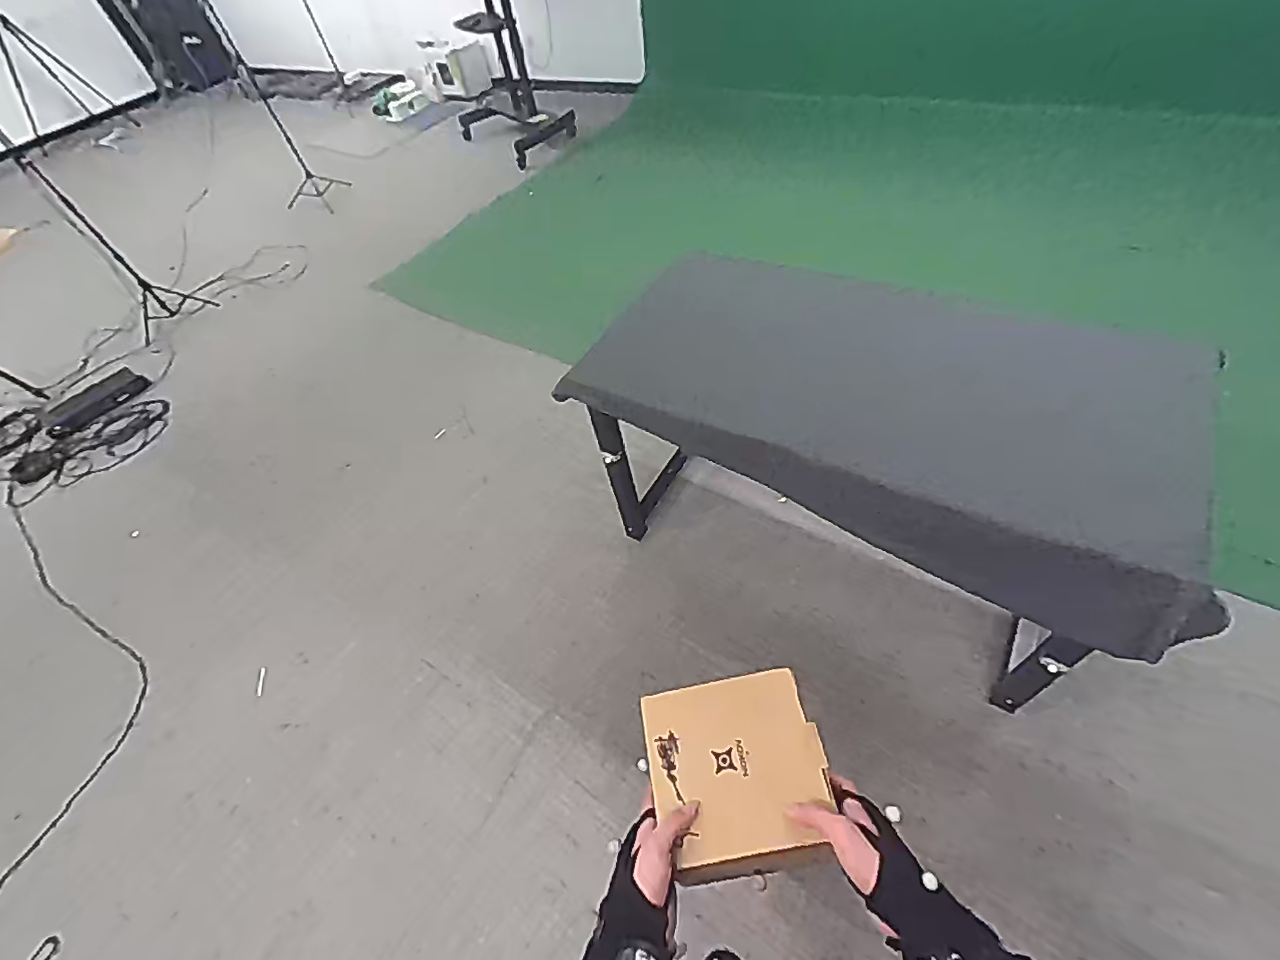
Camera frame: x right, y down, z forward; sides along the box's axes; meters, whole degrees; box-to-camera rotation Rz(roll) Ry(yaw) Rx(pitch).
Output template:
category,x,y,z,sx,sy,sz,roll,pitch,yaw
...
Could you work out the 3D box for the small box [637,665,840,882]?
category,x,y,z,sx,sy,sz,roll,pitch,yaw
small box,0.102,0.333,0.610,0.179,0.176,0.168,-12,47,2
